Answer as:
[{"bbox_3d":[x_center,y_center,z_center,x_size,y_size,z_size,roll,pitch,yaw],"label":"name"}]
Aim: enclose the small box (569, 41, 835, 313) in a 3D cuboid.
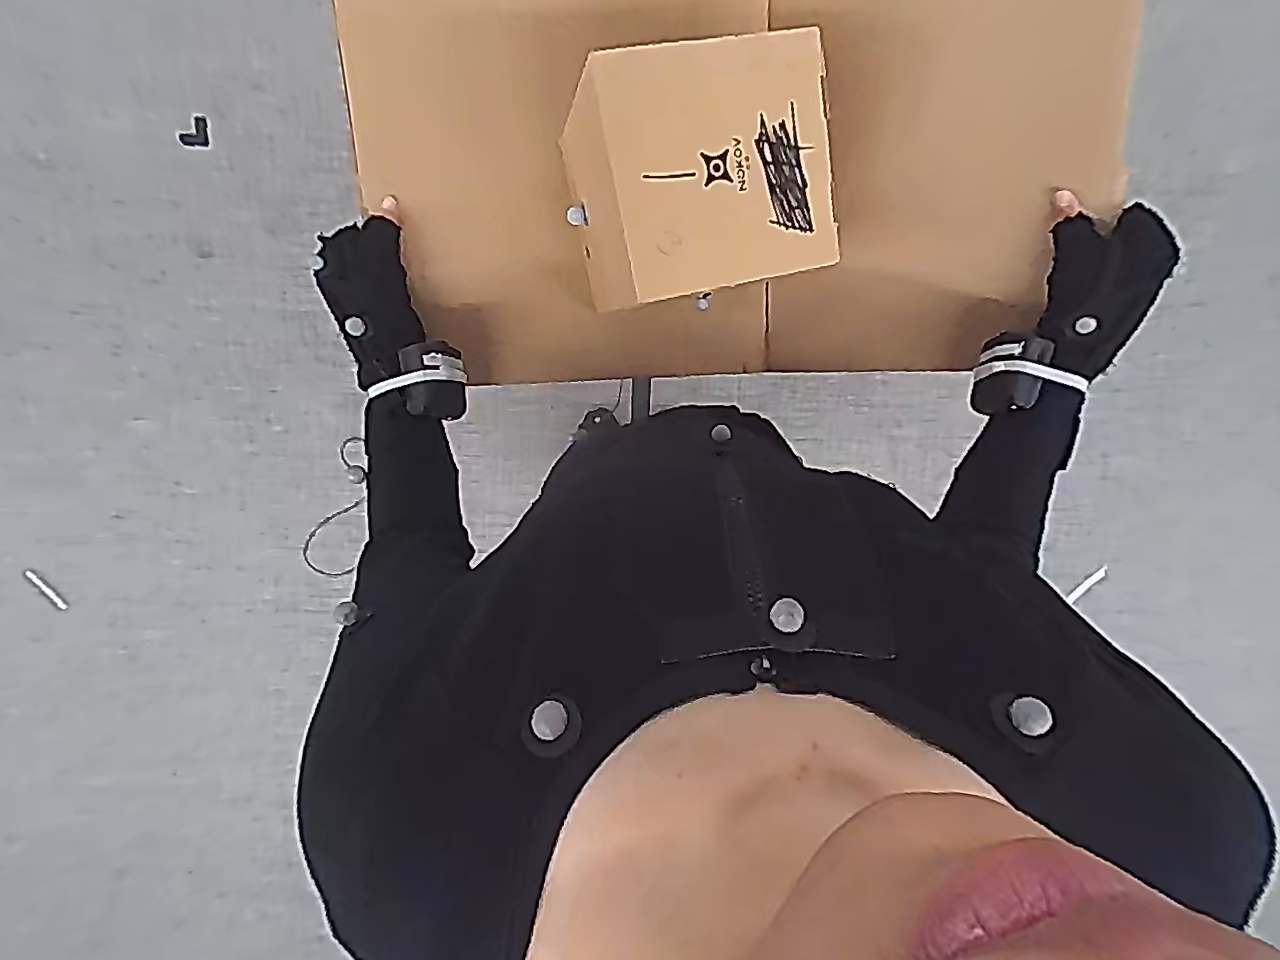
[{"bbox_3d":[0.046,-0.251,0.486,0.179,0.176,0.168,-15,106,-11],"label":"small box"}]
